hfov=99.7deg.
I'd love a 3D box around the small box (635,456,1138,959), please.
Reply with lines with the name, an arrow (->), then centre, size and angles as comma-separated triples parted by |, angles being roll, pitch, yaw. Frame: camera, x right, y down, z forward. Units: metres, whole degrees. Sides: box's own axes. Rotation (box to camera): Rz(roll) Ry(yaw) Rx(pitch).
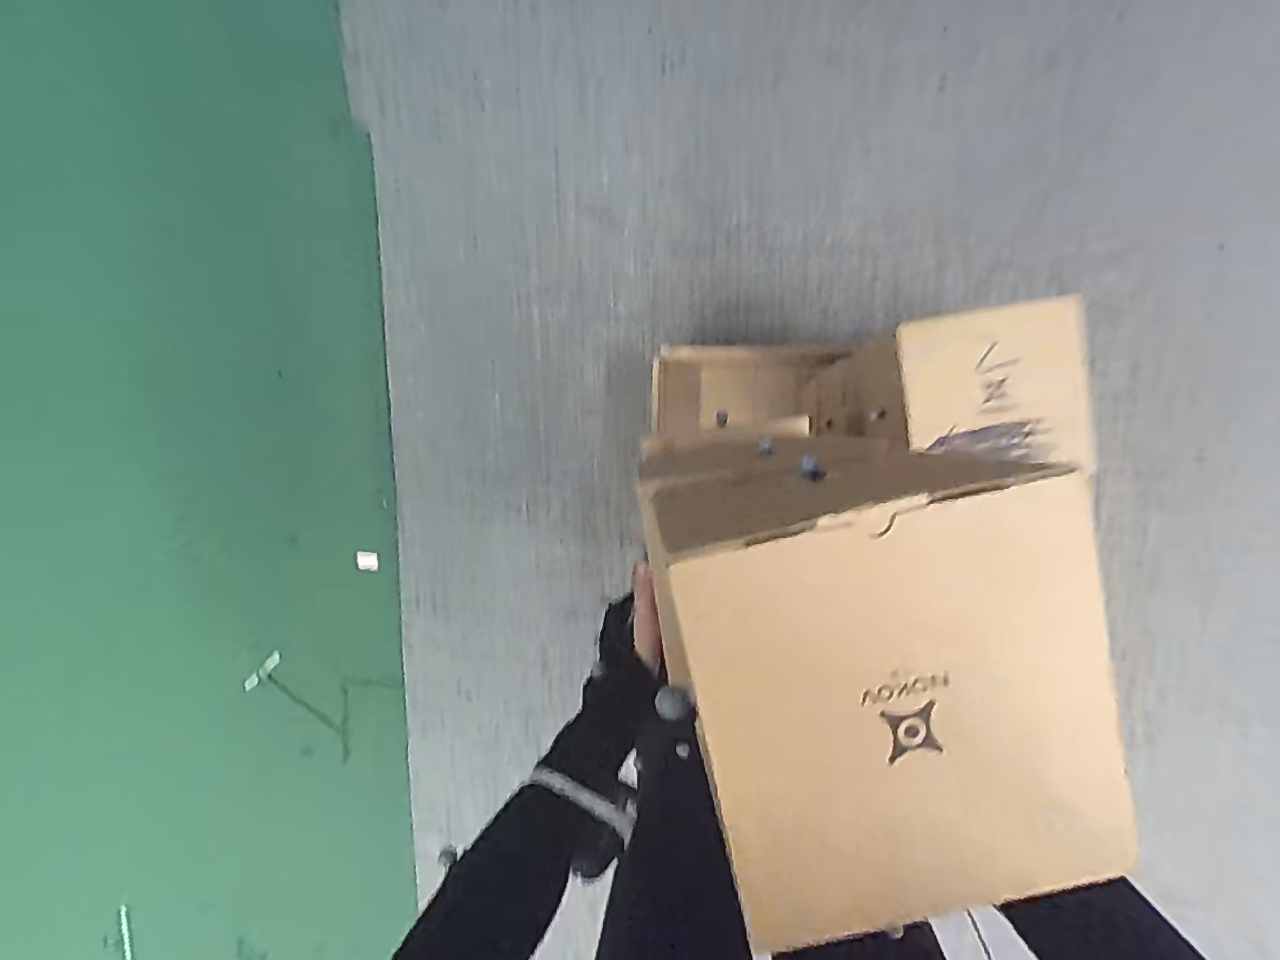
small box -> 0.097, 0.092, 0.286 | 0.168, 0.176, 0.179 | -13, 95, 2

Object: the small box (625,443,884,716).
small box -> 0.089, 0.064, 0.445 | 0.179, 0.176, 0.168 | -9, 95, 4

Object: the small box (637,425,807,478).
small box -> 0.087, 0.033, 0.607 | 0.168, 0.176, 0.179 | -7, 95, 0

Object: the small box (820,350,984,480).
small box -> 0.358, -0.084, 0.769 | 0.179, 0.176, 0.168 | -4, 95, 10
